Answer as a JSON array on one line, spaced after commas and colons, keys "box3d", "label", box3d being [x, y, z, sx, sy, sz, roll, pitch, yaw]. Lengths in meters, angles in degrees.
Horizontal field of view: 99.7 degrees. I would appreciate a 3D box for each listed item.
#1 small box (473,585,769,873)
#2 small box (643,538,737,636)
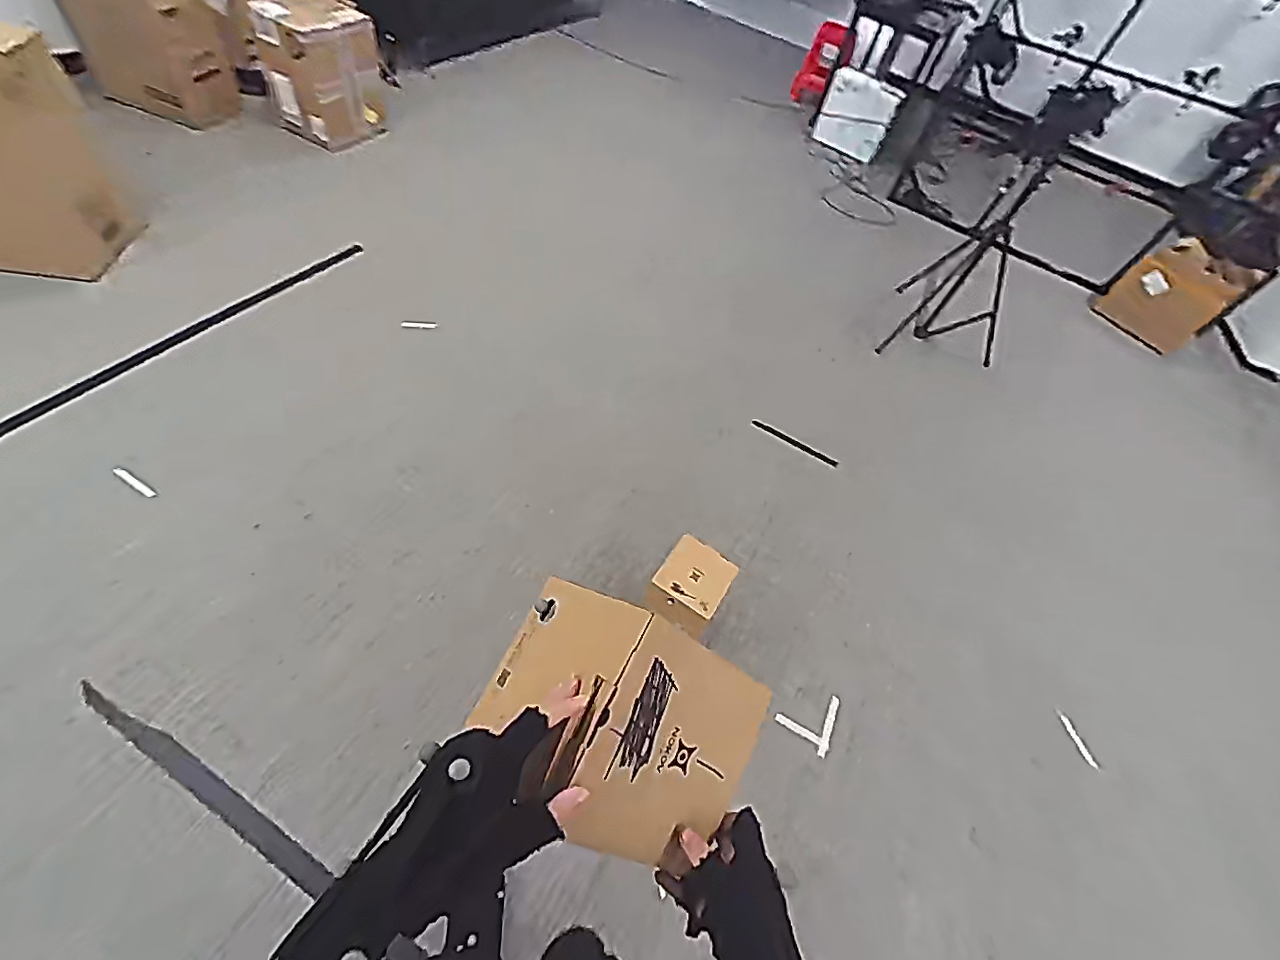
[{"box3d": [-0.021, 0.211, 0.498, 0.179, 0.176, 0.168, 41, 68, -31], "label": "small box"}, {"box3d": [0.119, 0.290, 1.394, 0.168, 0.176, 0.179, 33, 53, 12], "label": "small box"}]
